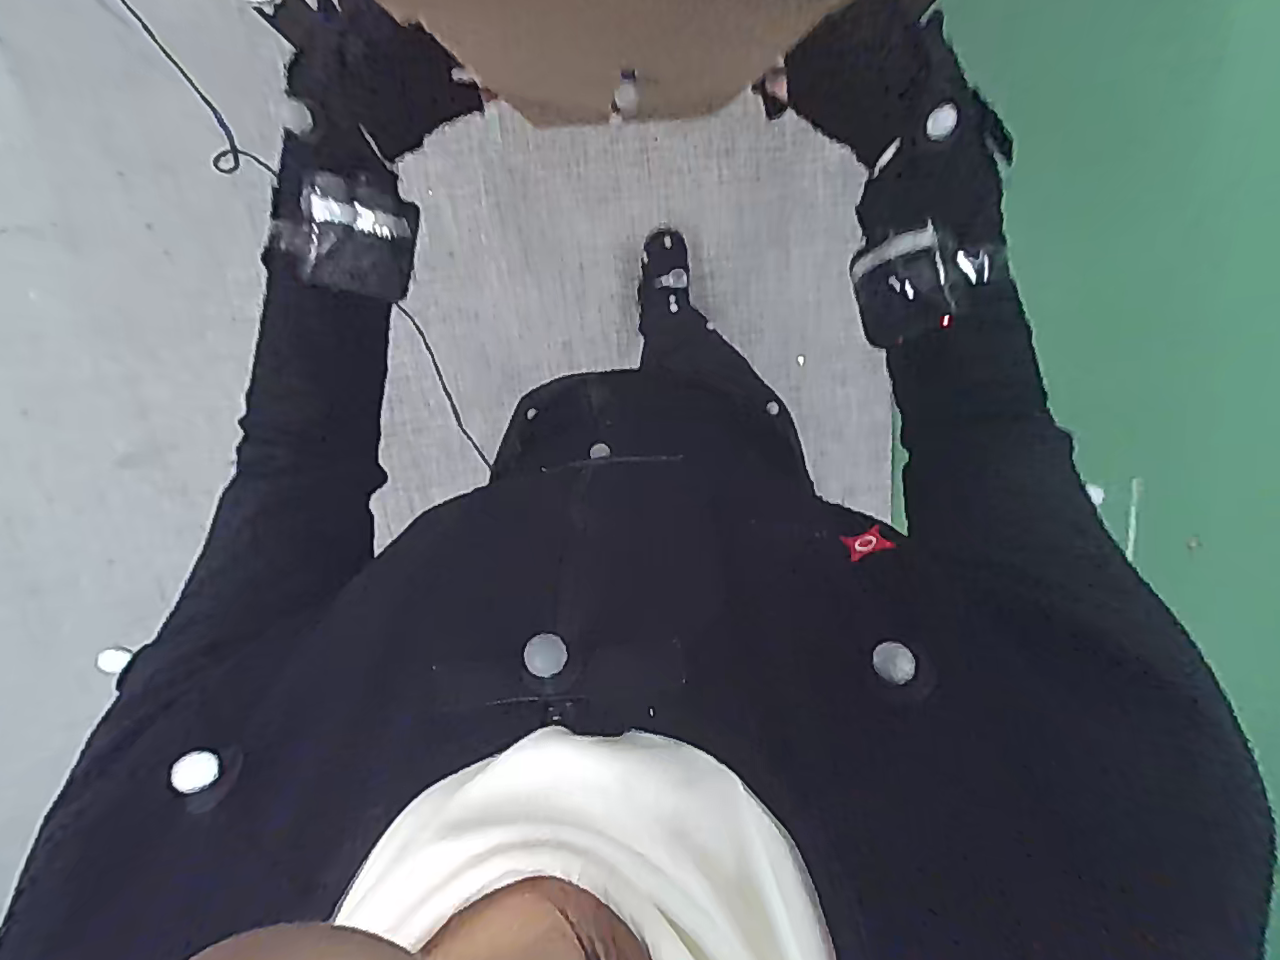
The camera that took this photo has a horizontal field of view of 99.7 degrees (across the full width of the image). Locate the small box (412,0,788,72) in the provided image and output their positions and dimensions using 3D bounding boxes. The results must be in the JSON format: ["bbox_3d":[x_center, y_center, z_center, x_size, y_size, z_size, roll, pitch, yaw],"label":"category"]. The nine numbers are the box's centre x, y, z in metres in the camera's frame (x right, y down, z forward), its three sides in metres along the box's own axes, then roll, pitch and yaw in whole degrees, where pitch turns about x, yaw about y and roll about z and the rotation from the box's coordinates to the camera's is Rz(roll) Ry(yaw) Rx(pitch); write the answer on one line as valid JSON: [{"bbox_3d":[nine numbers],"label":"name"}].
[{"bbox_3d":[-0.015,-0.308,0.247,0.179,0.176,0.168,-5,118,2],"label":"small box"}]
